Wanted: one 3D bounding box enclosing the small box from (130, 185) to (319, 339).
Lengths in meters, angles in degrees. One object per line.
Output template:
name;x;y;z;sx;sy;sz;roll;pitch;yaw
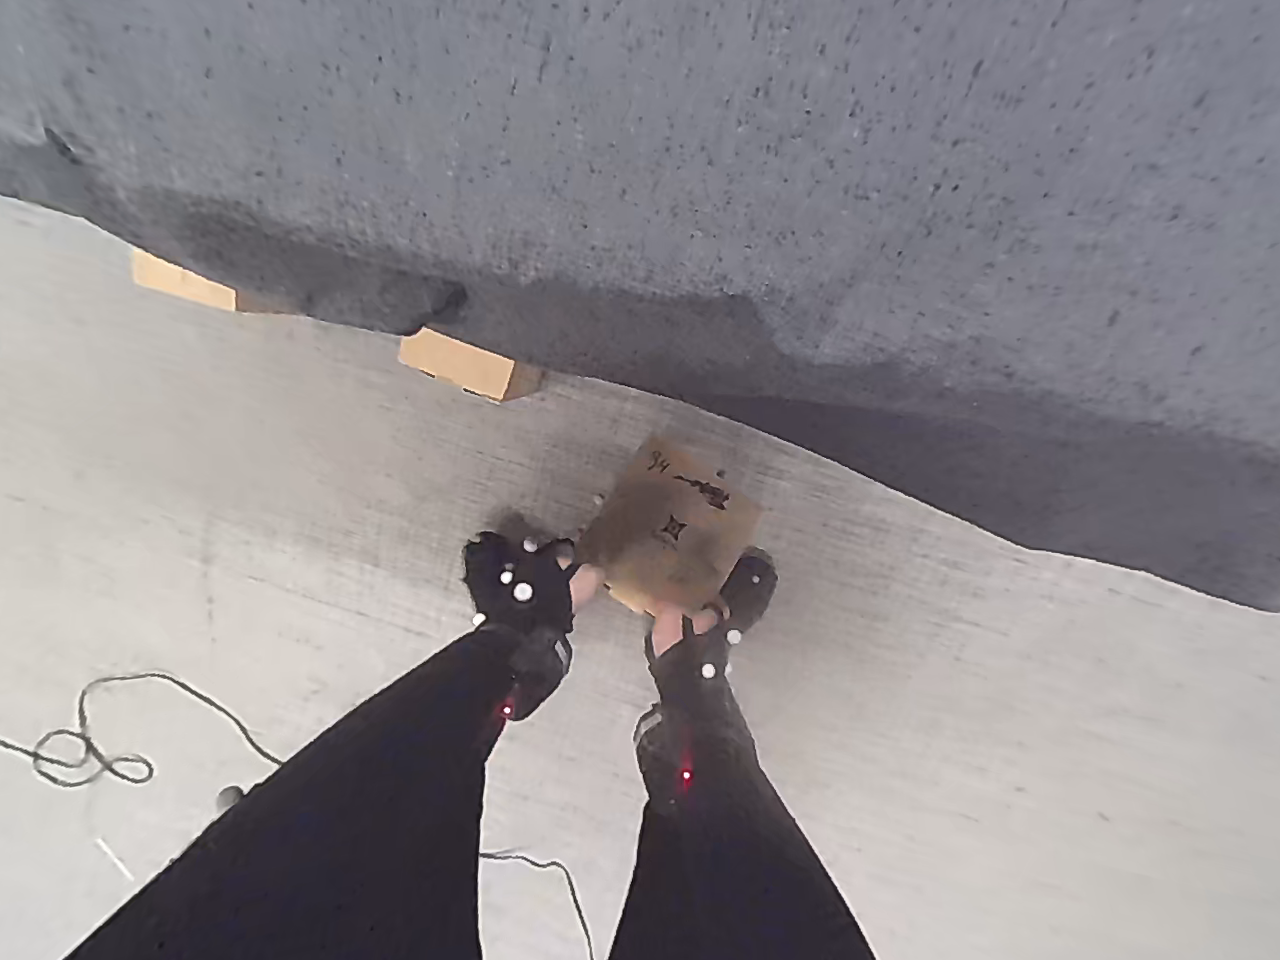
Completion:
small box;-0.635;-0.326;0.843;0.168;0.176;0.179;15;105;3
